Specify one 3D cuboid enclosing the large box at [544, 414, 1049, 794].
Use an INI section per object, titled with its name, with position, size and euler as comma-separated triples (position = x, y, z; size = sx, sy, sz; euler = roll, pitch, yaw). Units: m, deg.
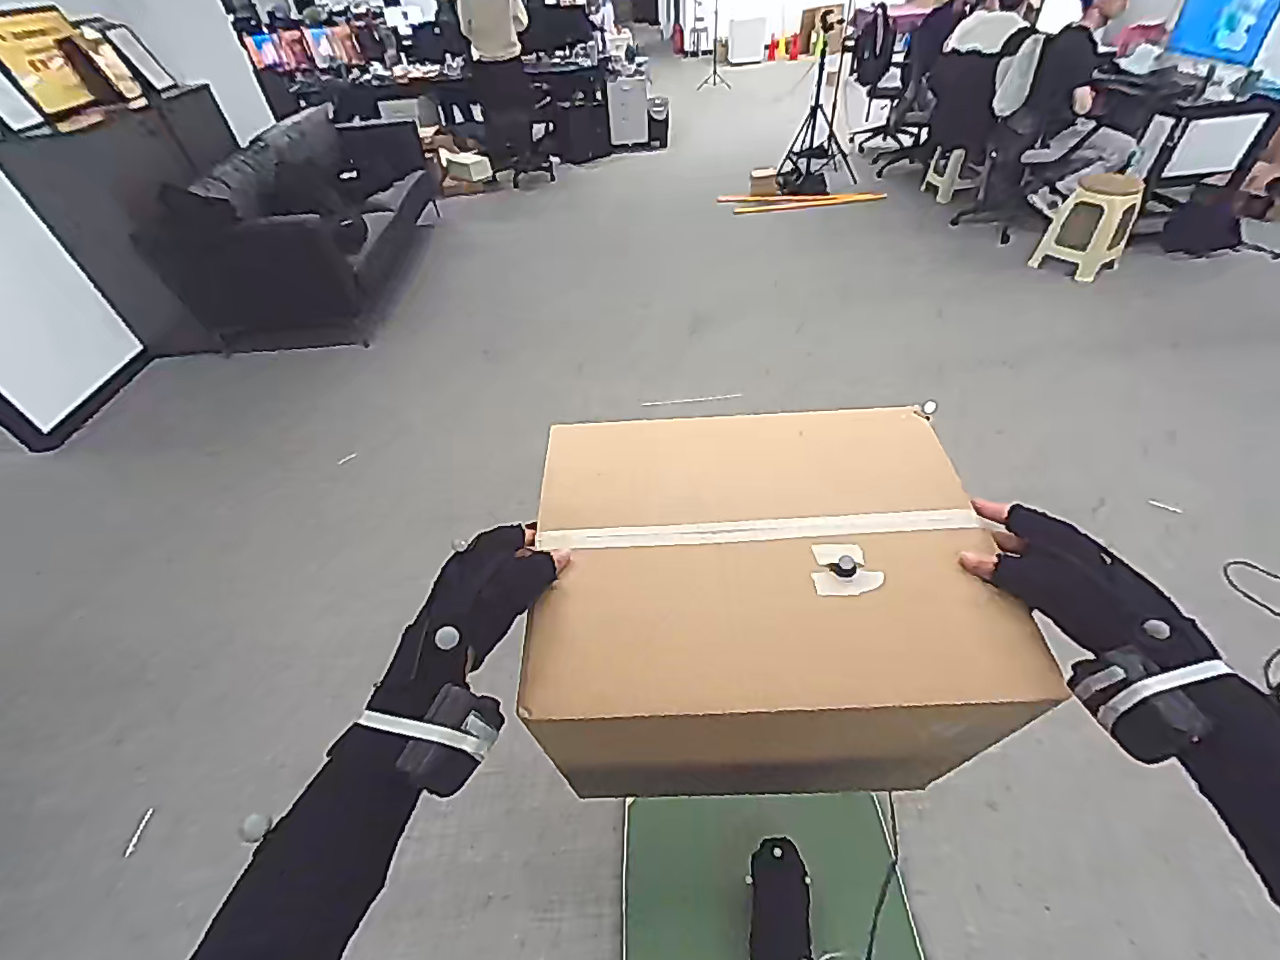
[large box]
position = 0.120, 0.149, 0.625
size = 0.408, 0.320, 0.320
euler = -3, 50, 1
